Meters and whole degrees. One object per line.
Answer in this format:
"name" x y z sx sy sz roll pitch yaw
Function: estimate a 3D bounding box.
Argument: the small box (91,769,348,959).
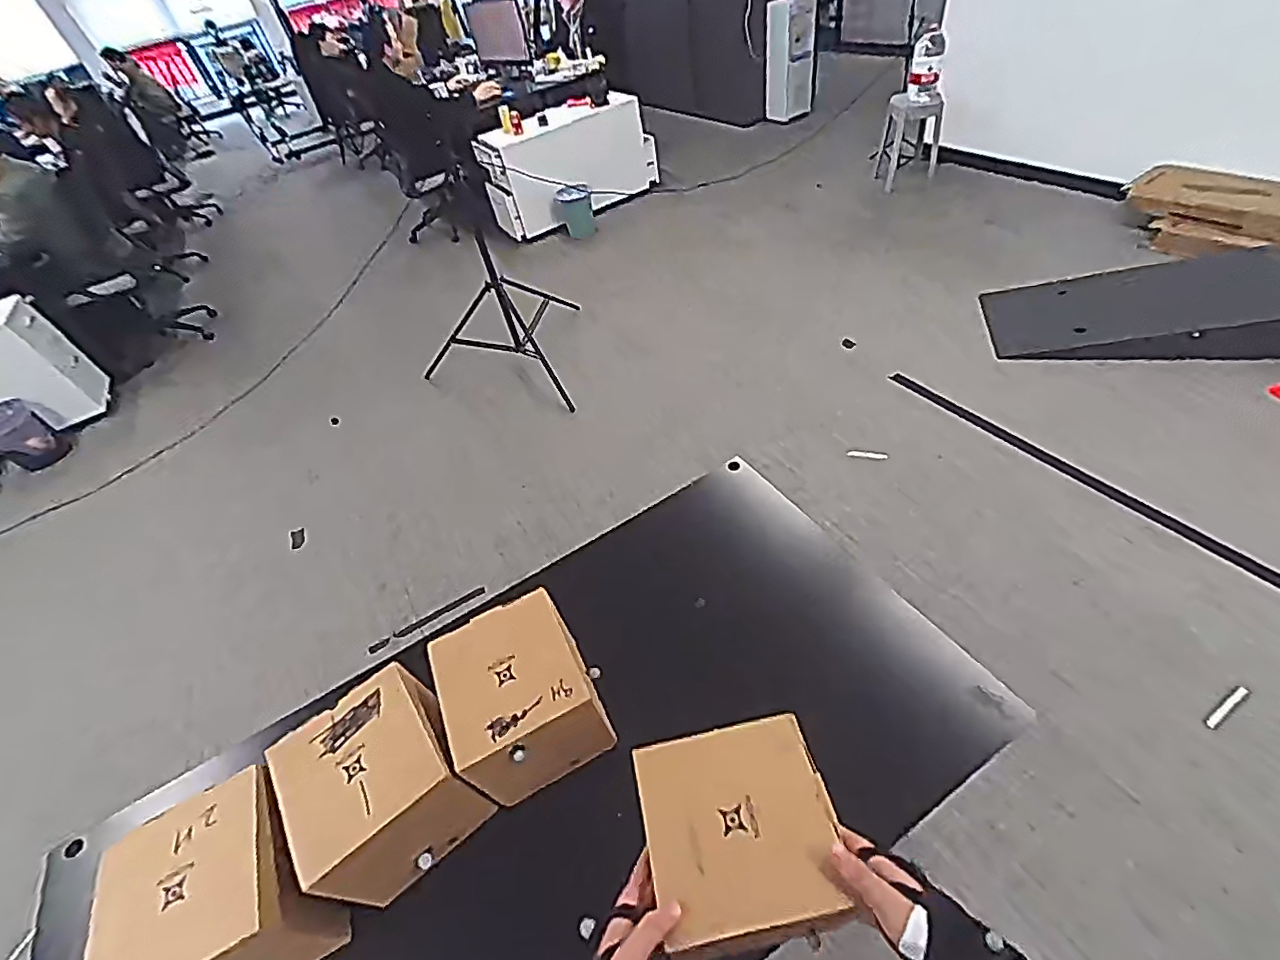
"small box" -0.460 0.476 0.616 0.168 0.176 0.179 -27 47 -14

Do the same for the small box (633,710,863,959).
"small box" 0.102 0.371 0.561 0.179 0.176 0.168 -14 42 -1
